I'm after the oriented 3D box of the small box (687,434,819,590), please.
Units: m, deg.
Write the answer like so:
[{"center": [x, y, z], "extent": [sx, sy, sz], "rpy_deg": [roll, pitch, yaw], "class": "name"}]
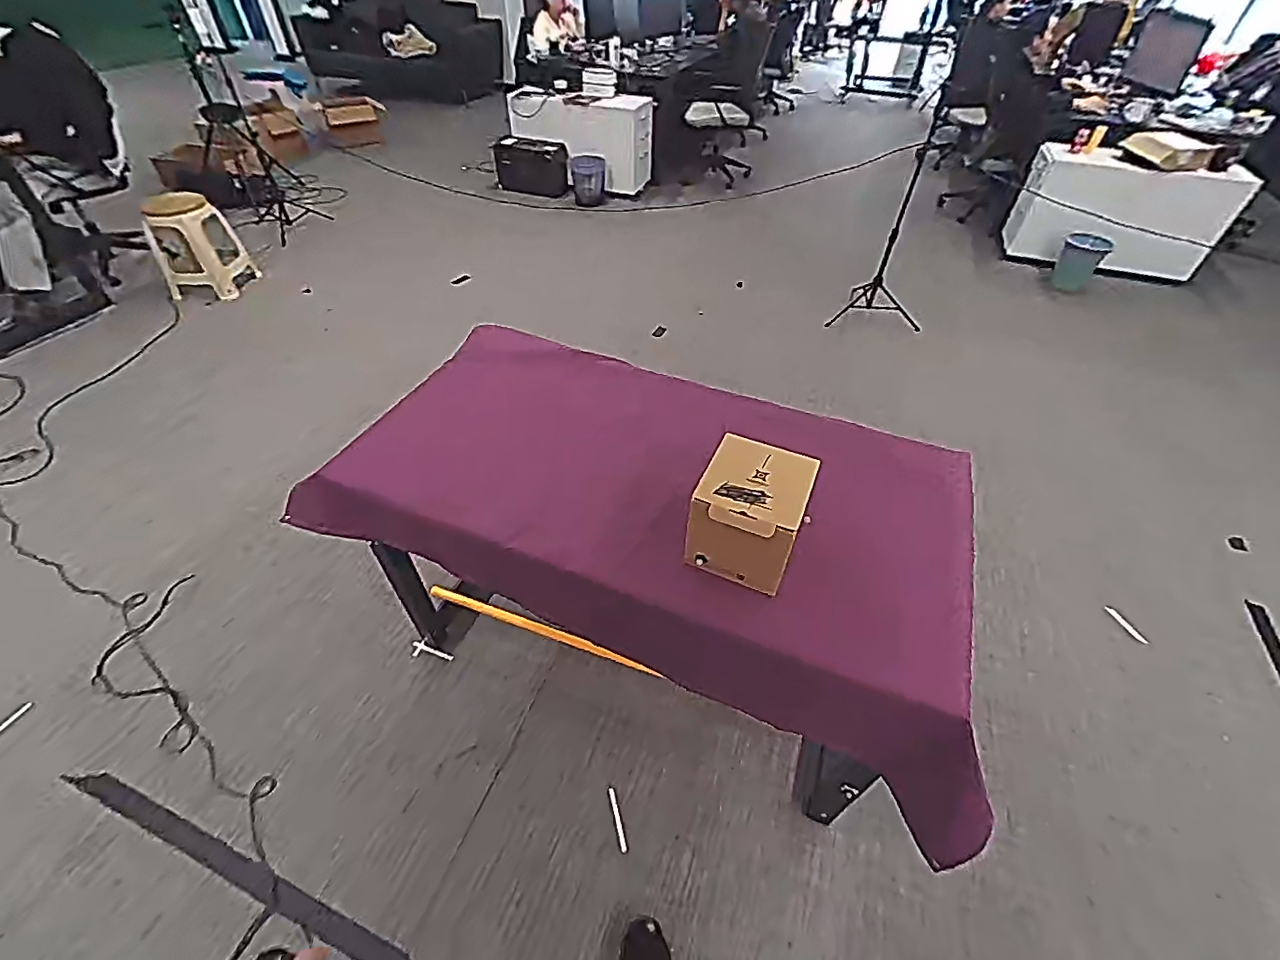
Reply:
[{"center": [0.185, 0.056, 0.917], "extent": [0.168, 0.176, 0.179], "rpy_deg": [19, 47, 16], "class": "small box"}]
